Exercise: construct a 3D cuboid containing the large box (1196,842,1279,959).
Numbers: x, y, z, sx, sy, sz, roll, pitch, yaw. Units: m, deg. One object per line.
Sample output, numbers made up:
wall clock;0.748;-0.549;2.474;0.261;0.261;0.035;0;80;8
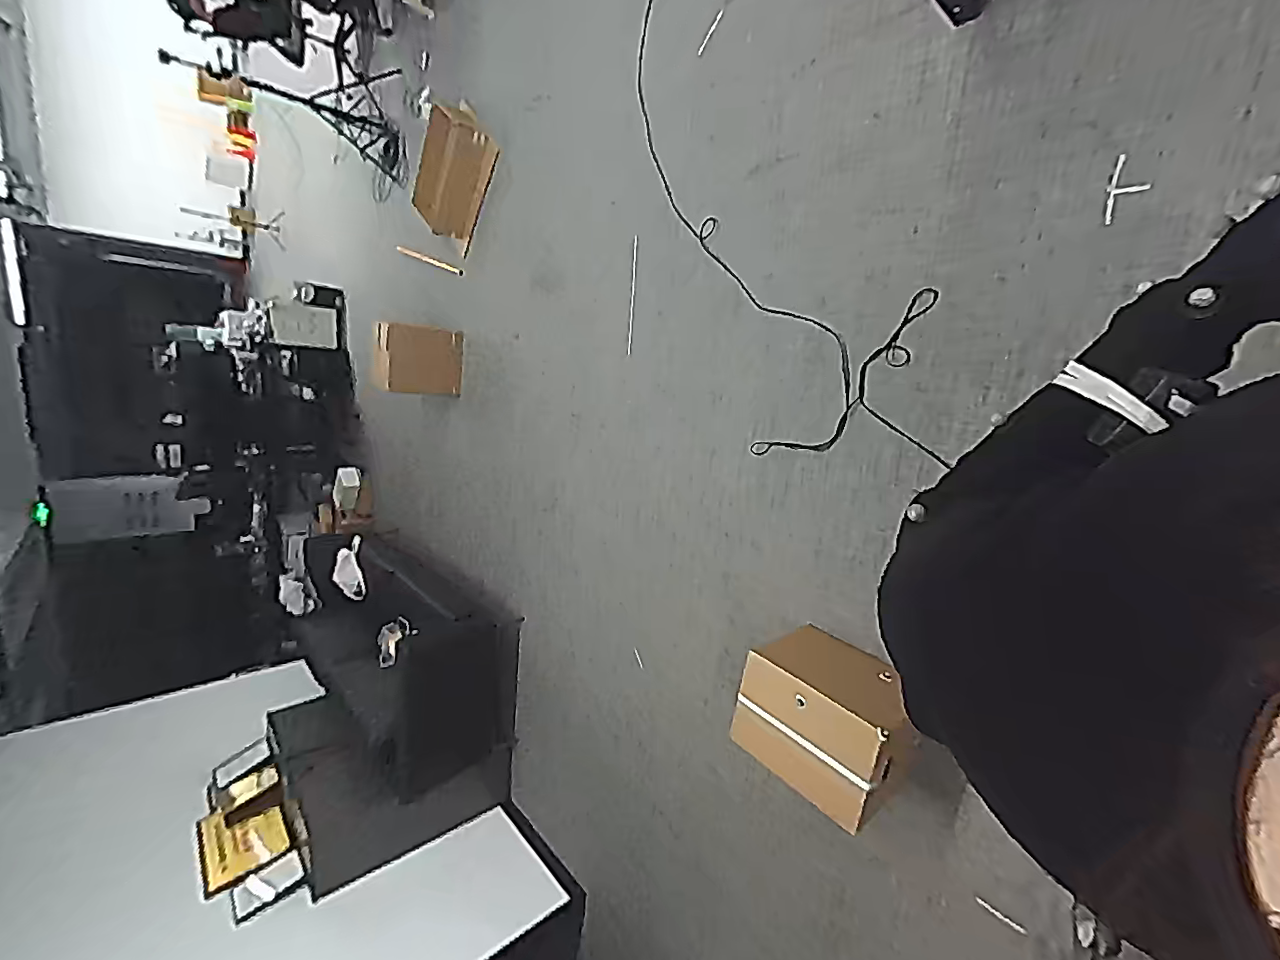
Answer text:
large box;1.155;0.936;0.893;0.320;0.320;0.408;15;106;46
